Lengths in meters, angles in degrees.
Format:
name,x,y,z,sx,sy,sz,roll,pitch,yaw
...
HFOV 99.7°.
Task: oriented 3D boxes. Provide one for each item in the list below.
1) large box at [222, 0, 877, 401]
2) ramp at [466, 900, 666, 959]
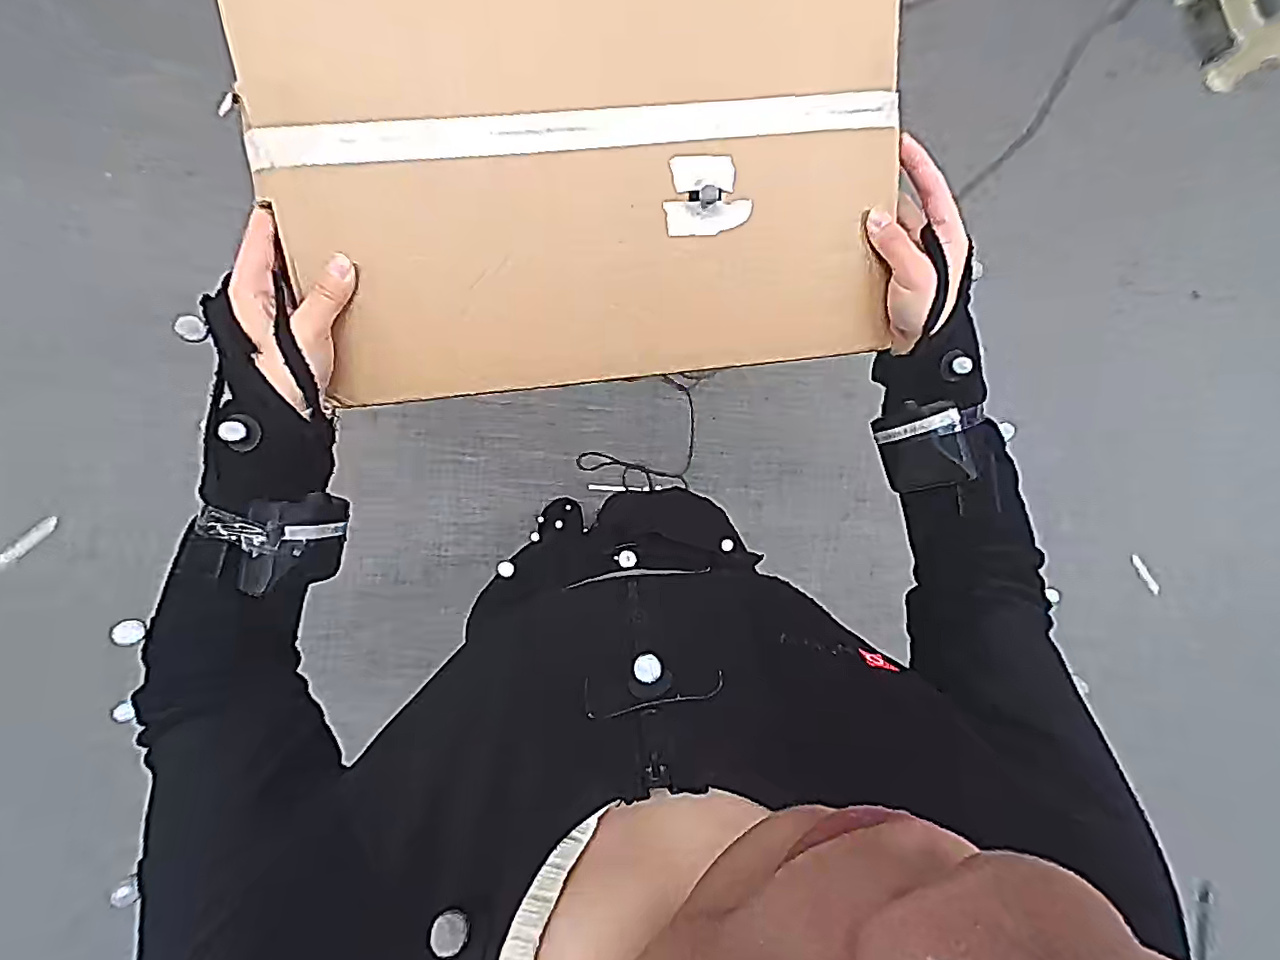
name,x,y,z,sx,sy,sz,roll,pitch,yaw
large box,-0.058,-0.266,0.492,0.408,0.320,0.320,-9,106,-7
ramp,-0.194,1.549,1.248,0.509,0.206,0.991,2,87,-7
